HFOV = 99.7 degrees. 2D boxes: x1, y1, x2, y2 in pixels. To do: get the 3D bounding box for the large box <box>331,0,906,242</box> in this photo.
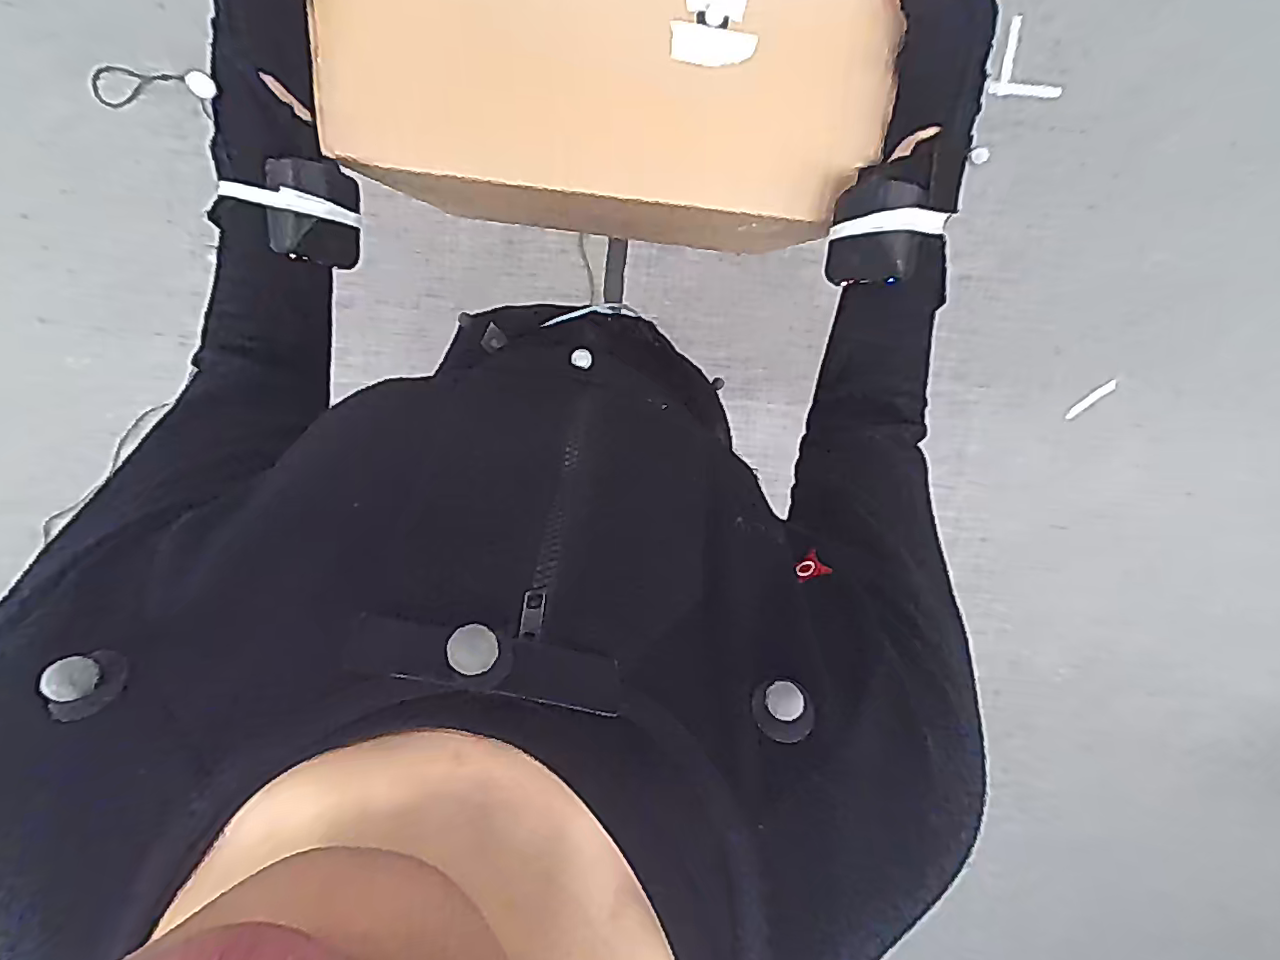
[{"bbox_3d":[-0.016,-0.417,0.501,0.408,0.320,0.320,4,110,-5],"label":"large box"}]
